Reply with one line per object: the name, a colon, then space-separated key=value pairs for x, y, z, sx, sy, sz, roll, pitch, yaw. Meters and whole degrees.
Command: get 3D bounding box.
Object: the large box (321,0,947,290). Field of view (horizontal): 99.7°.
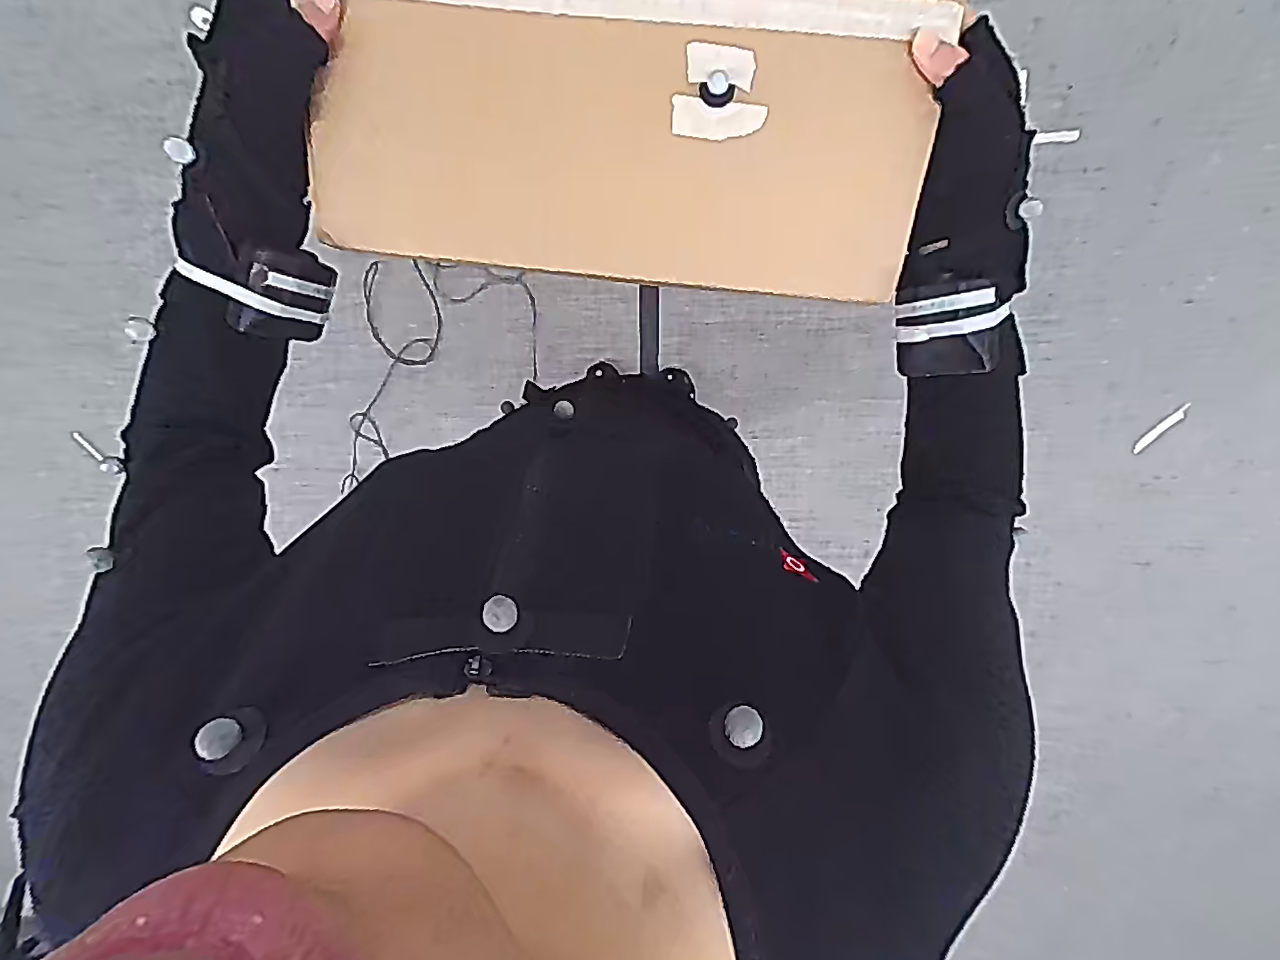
large box: x=-0.002 y=-0.350 z=0.484 sx=0.408 sy=0.320 sz=0.320 roll=6 pitch=110 yaw=1
